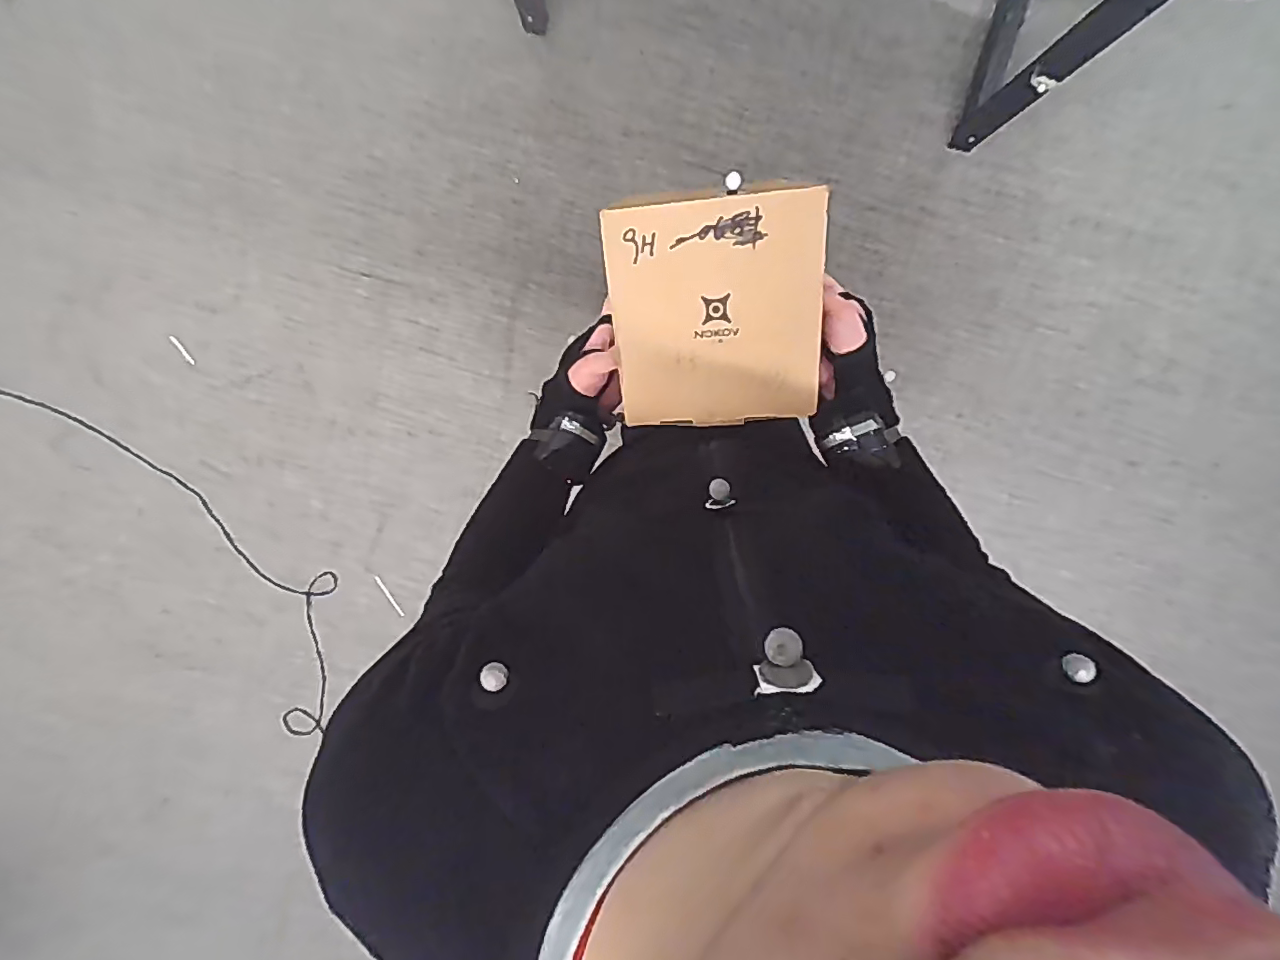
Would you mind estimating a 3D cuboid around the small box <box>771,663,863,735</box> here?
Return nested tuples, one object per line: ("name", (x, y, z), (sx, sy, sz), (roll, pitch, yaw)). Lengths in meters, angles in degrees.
("small box", (0.521, 0.678, 1.614), (0.179, 0.176, 0.168), (27, 97, -4))

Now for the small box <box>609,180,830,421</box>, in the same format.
("small box", (0.071, -0.172, 0.509), (0.168, 0.176, 0.179), (-3, 121, 6))

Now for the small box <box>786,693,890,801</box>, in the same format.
("small box", (0.522, 0.707, 1.452), (0.179, 0.176, 0.168), (28, 97, -5))
